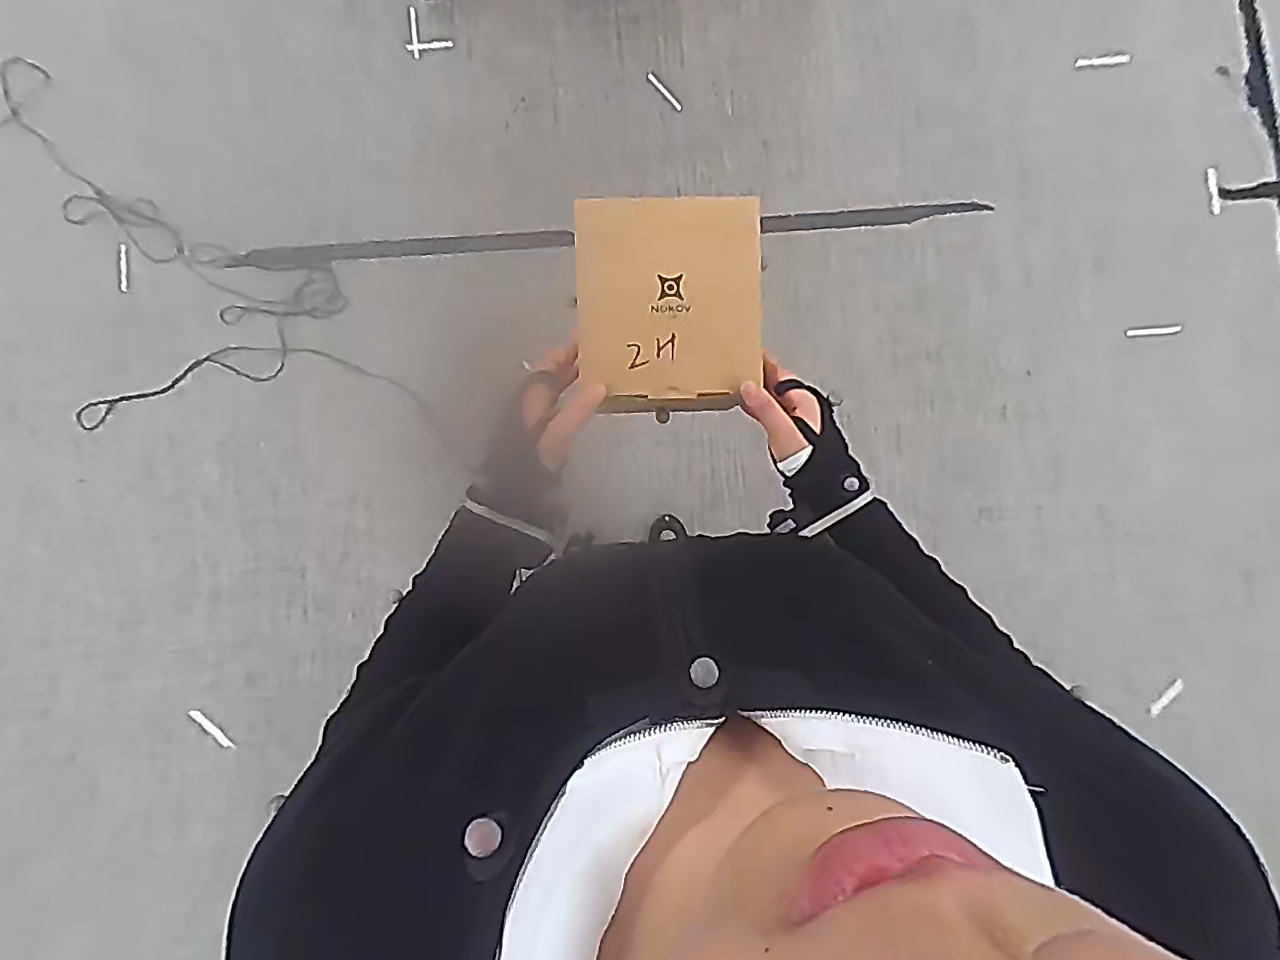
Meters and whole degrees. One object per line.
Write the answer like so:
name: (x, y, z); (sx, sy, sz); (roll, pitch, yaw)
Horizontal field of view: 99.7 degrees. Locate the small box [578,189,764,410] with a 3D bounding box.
small box: (0.025, -0.171, 0.558); (0.168, 0.176, 0.179); (-2, 92, -1)
